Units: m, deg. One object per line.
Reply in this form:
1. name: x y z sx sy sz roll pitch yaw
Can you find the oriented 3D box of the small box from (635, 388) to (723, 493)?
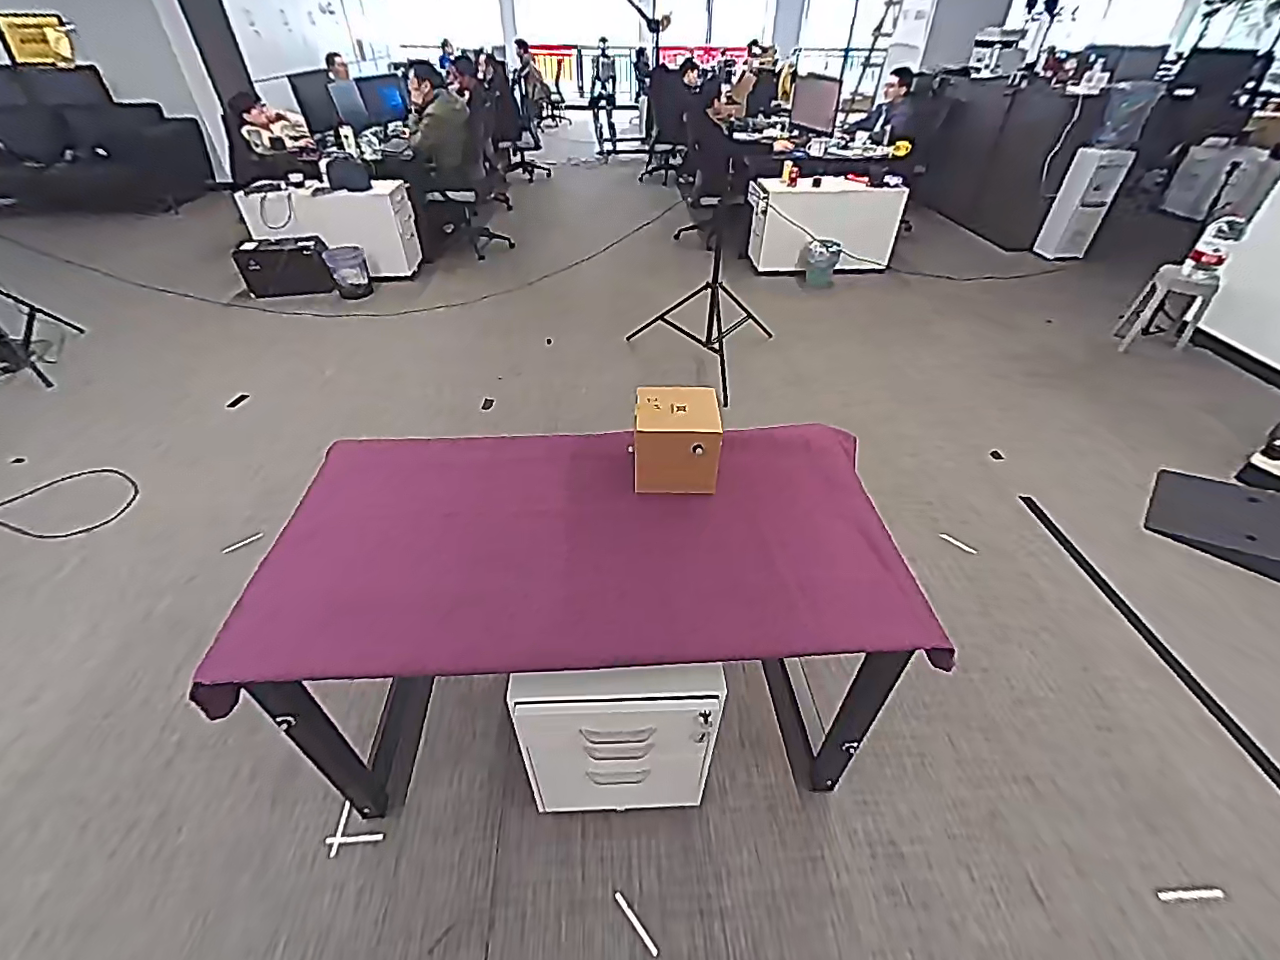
1. small box: 0.079 -0.084 1.180 0.179 0.176 0.168 0 41 0
